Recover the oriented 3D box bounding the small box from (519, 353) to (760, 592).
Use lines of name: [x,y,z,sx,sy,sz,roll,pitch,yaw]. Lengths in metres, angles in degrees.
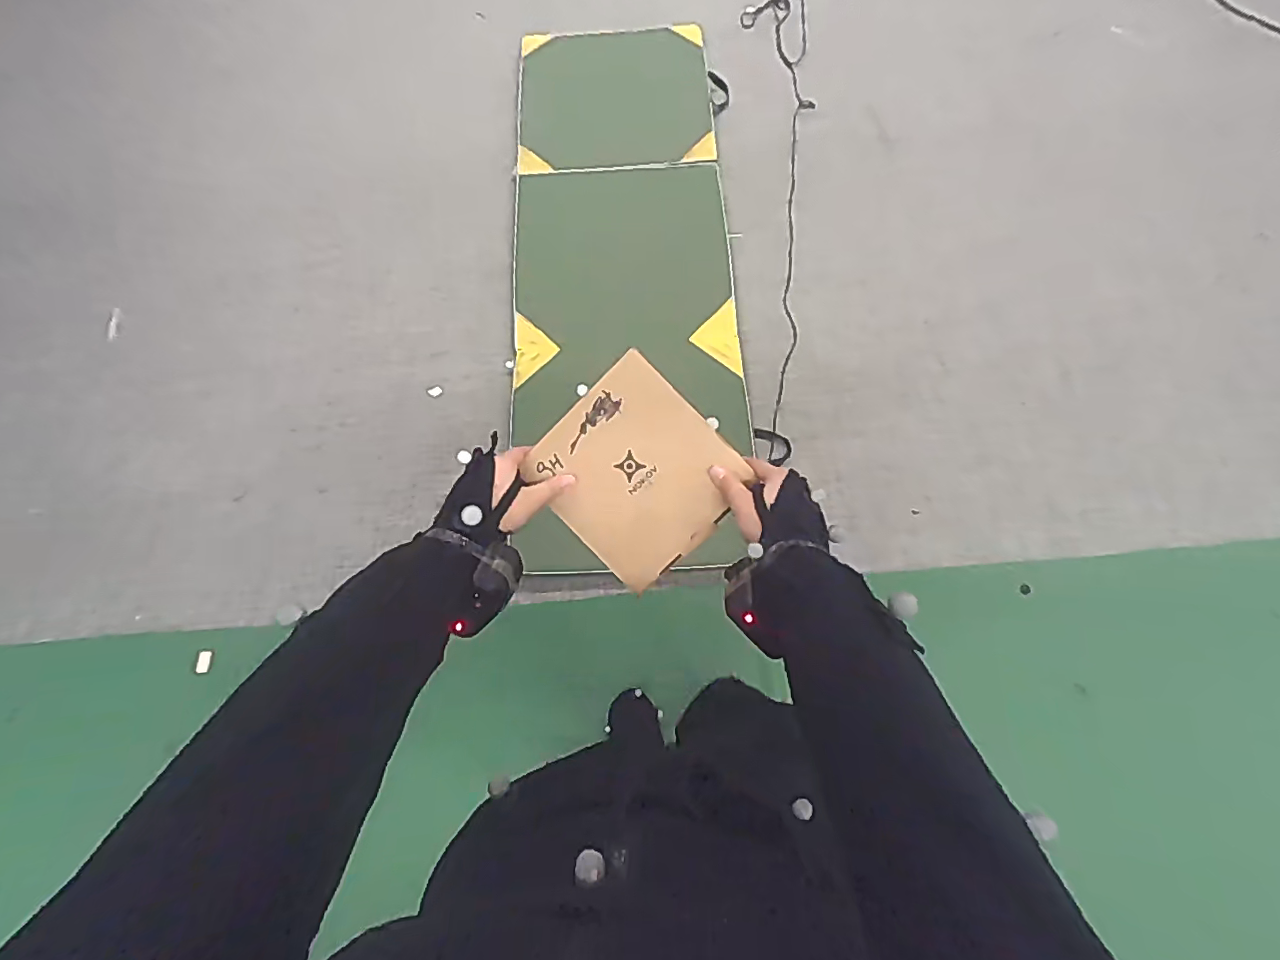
small box: [0.005,-0.011,0.596,0.168,0.176,0.179,-44,89,5]
